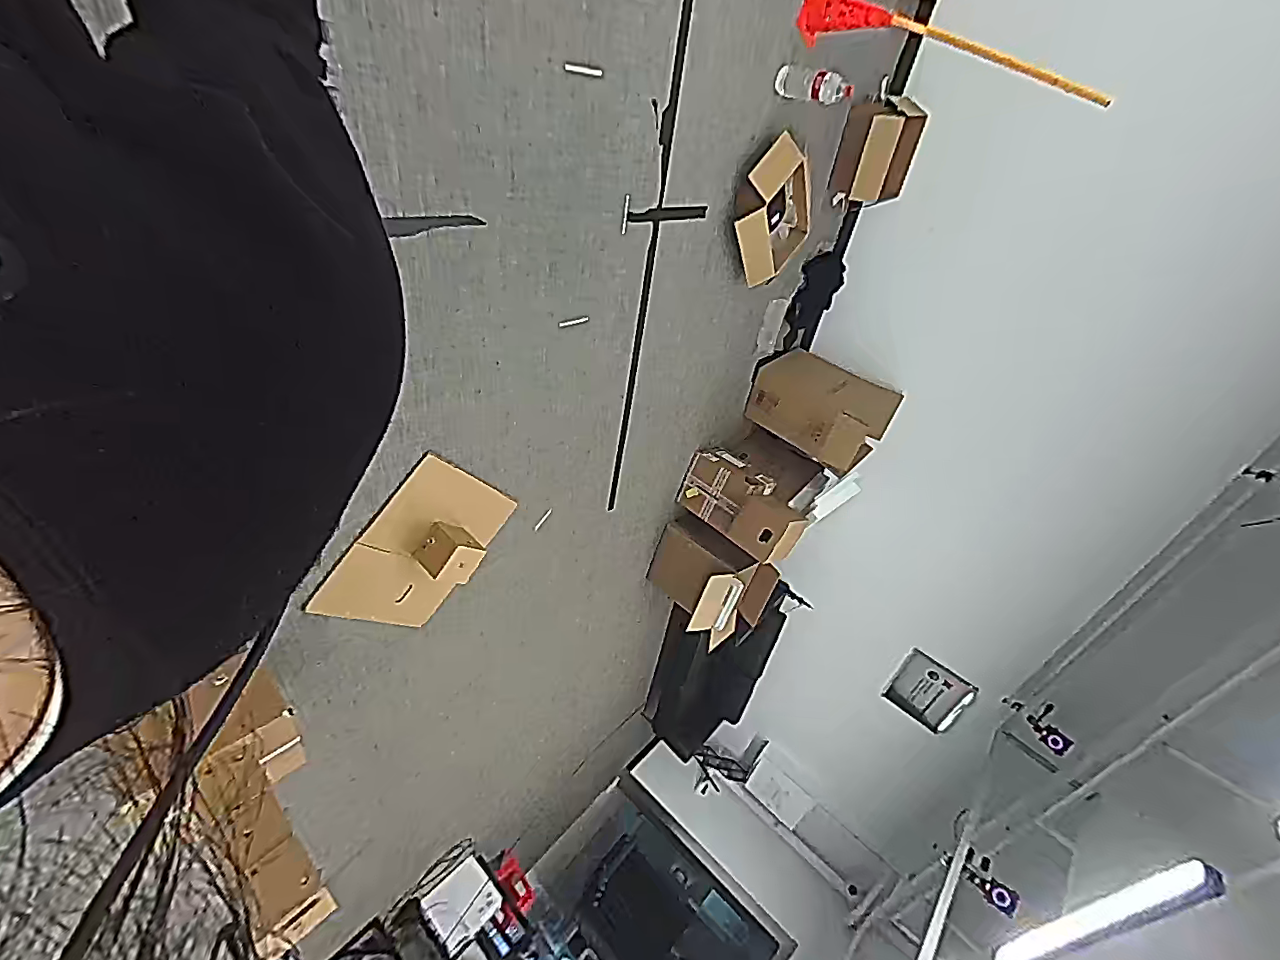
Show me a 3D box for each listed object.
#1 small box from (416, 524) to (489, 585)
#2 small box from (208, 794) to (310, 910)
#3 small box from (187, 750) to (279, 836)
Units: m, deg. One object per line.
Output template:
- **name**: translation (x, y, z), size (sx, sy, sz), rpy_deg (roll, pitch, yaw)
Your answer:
- **small box**: translation (-0.747, 0.296, 2.152), size (0.168, 0.176, 0.179), rpy_deg (-56, 151, 1)
- **small box**: translation (-1.033, 0.999, 1.468), size (0.168, 0.176, 0.179), rpy_deg (-26, 139, -42)
- **small box**: translation (-1.151, 0.910, 1.539), size (0.168, 0.176, 0.179), rpy_deg (-24, 139, -45)
